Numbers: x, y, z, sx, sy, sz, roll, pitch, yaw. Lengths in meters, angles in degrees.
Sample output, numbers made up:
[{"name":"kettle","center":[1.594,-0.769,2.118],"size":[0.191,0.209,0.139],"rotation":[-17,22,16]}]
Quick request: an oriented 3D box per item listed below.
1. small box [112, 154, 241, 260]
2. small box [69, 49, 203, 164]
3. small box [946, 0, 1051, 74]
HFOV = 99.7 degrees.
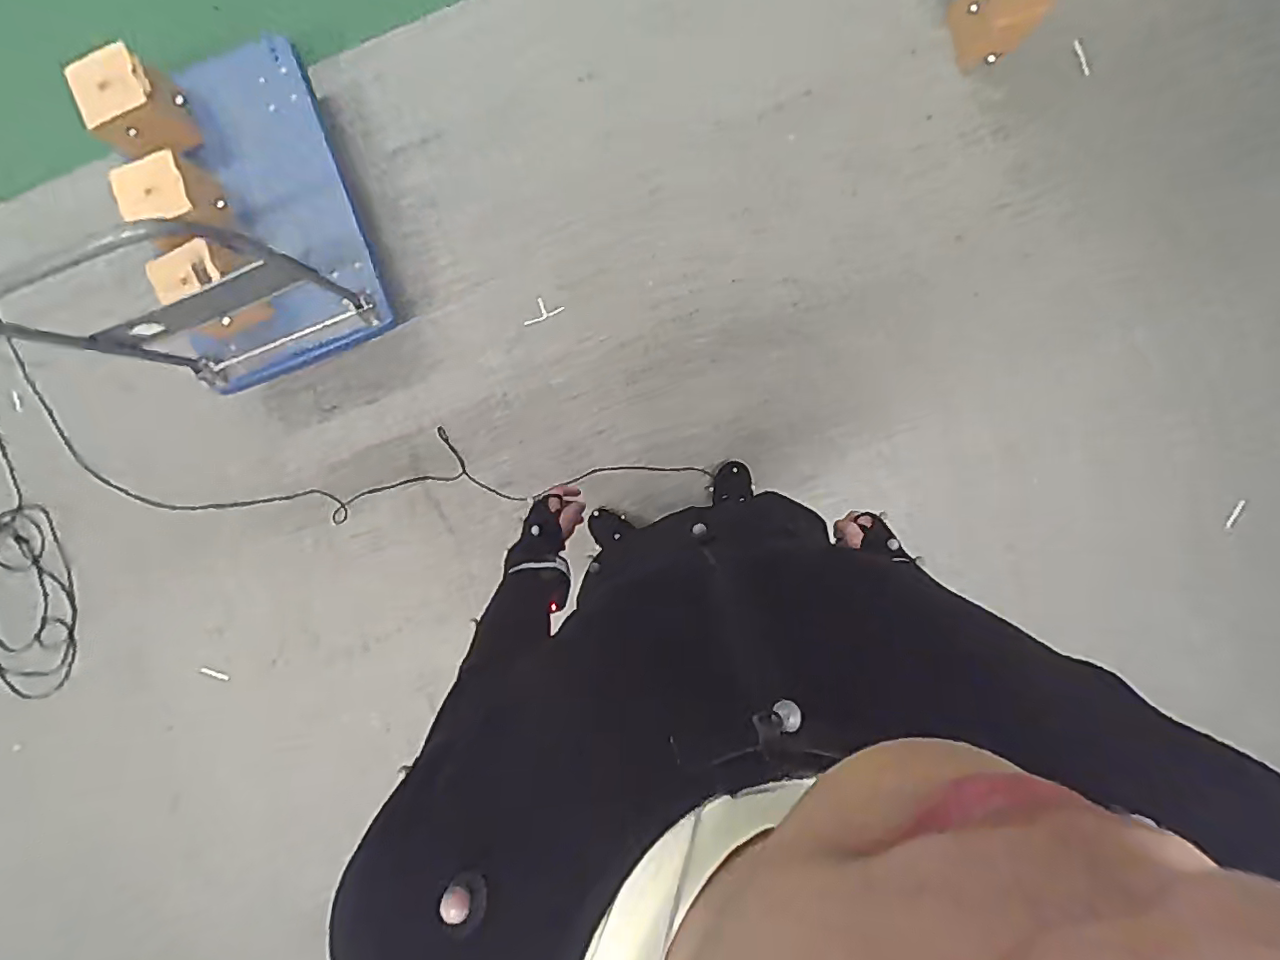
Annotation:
[{"name":"small box","center":[-1.228,-0.718,1.445],"size":[0.179,0.176,0.168],"rotation":[-20,90,1]},{"name":"small box","center":[-1.331,-0.978,1.440],"size":[0.179,0.176,0.168],"rotation":[-21,91,2]},{"name":"small box","center":[0.993,-1.302,1.517],"size":[0.168,0.176,0.179],"rotation":[-16,90,3]}]
